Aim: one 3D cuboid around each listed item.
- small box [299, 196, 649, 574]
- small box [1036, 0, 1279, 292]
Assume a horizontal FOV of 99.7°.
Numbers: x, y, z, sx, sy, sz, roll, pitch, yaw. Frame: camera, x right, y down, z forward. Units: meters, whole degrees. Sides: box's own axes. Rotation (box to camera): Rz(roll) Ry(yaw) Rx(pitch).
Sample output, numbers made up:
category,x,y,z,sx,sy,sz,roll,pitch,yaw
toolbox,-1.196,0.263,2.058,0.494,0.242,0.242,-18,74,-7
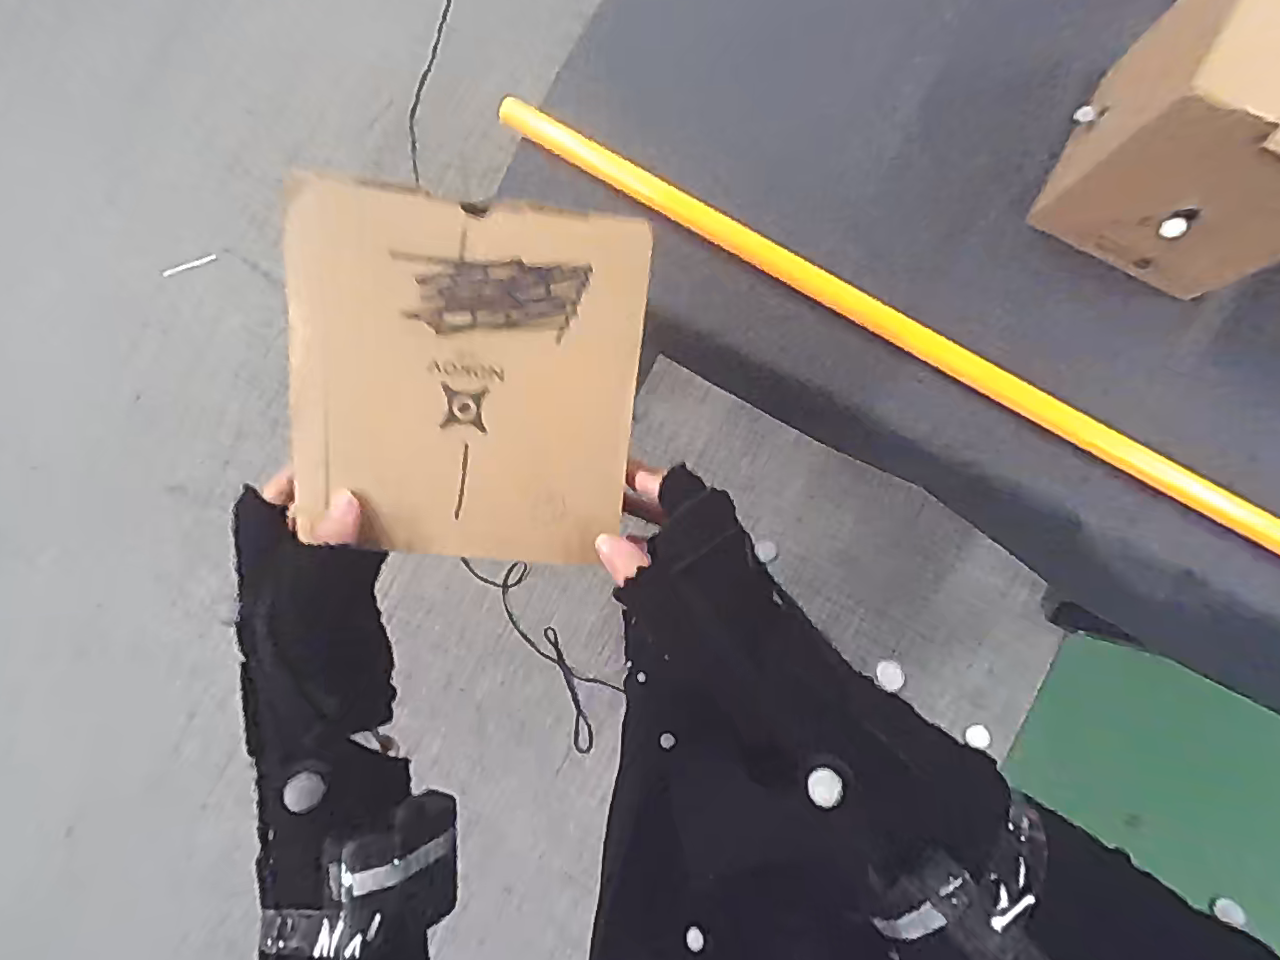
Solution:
category,x,y,z,sx,sy,sz,roll,pitch,yaw
small box,-0.093,-0.057,0.352,0.168,0.176,0.179,5,103,-6
small box,0.476,-0.286,0.442,0.168,0.176,0.179,26,86,6
